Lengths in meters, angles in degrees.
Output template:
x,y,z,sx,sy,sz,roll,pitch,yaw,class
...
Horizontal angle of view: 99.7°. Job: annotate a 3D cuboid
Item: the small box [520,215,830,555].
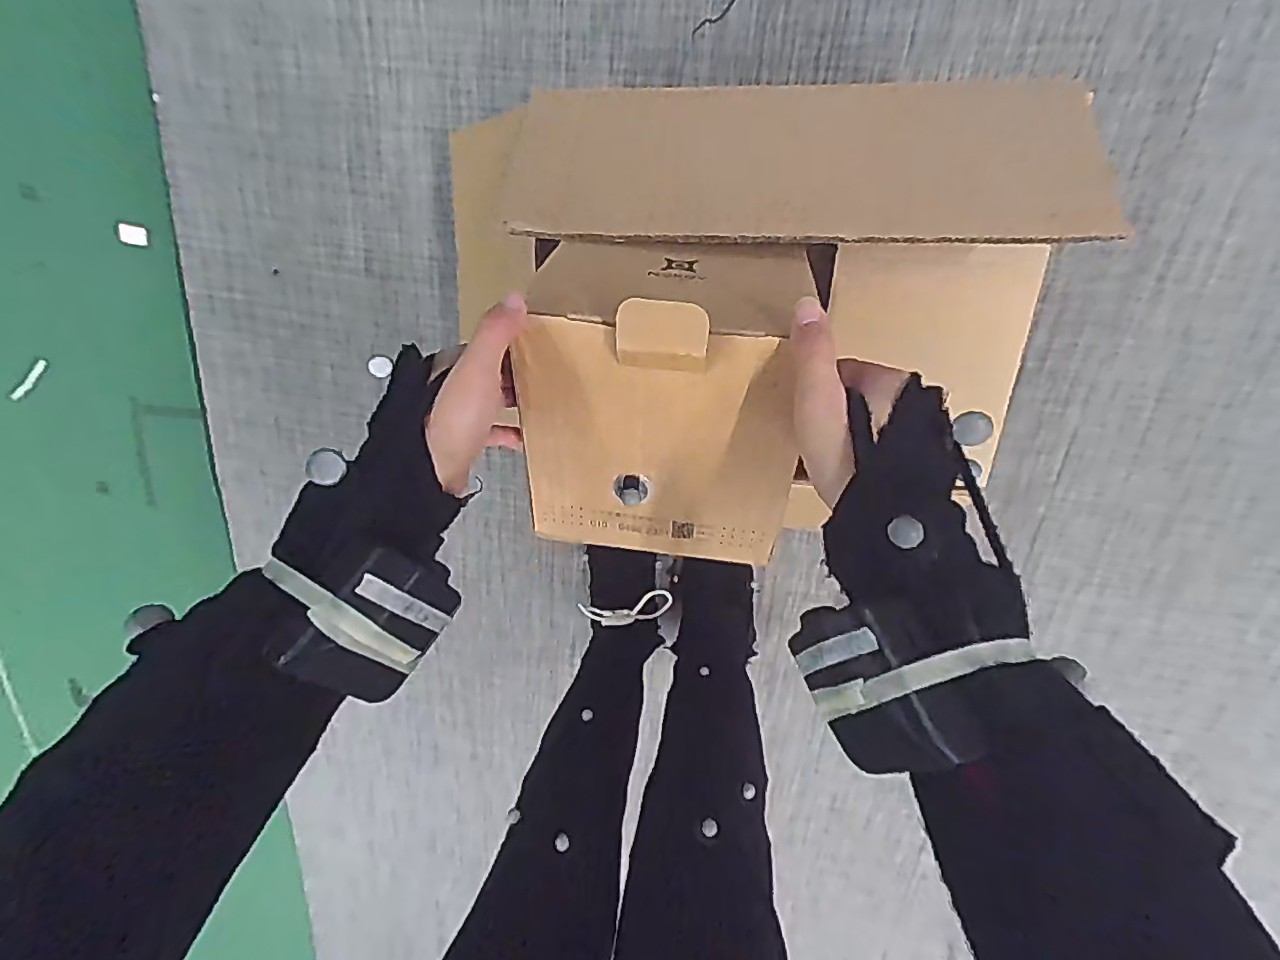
x,y,z,sx,sy,sz,roll,pitch,yaw,class
0.022,-0.073,0.391,0.168,0.179,0.176,7,131,4,small box
